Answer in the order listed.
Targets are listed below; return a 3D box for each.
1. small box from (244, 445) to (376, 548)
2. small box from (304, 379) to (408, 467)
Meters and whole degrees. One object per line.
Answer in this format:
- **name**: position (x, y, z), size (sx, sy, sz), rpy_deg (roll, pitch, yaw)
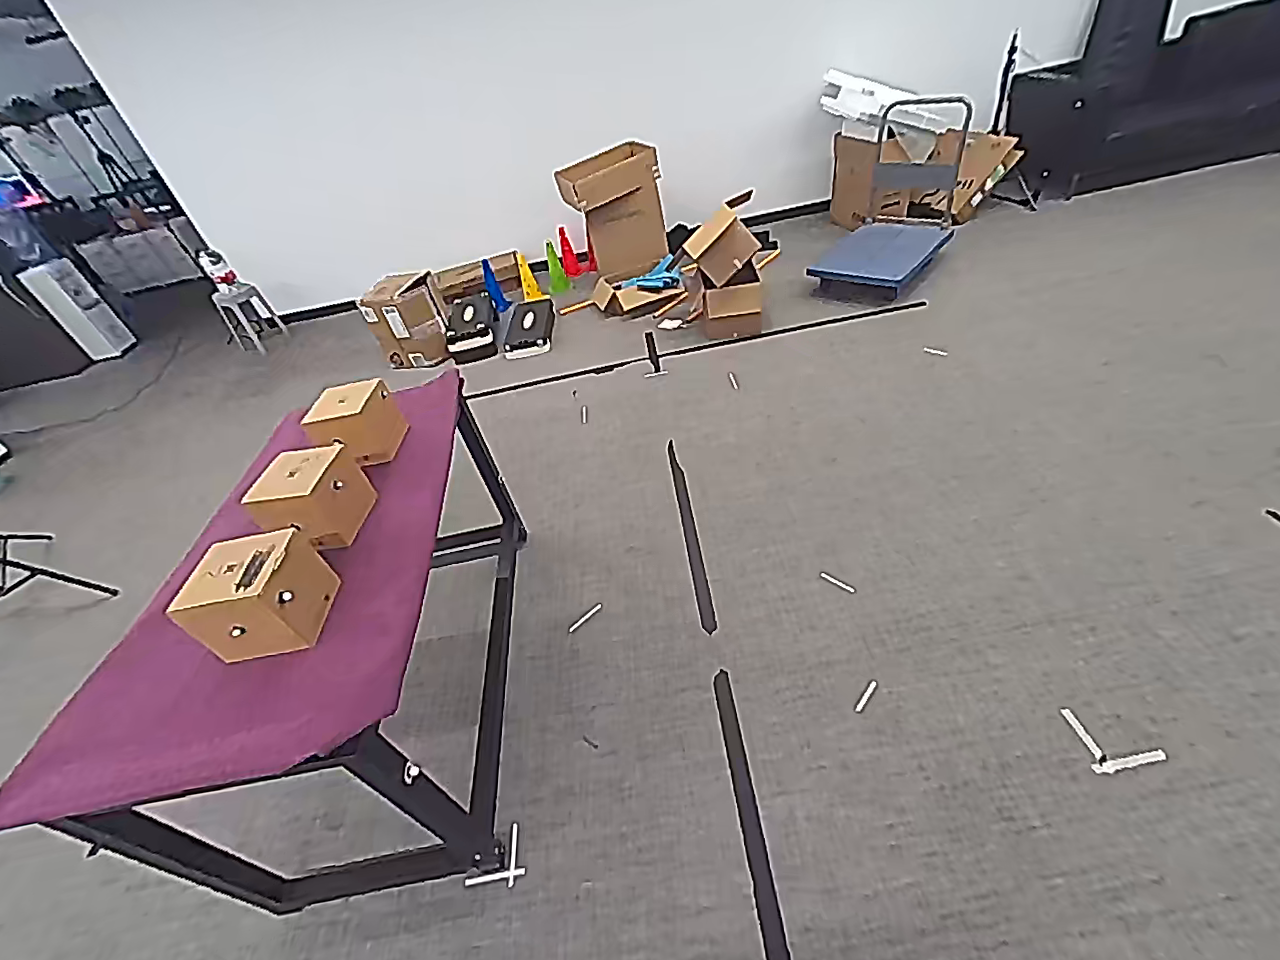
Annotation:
- **small box**: position (-0.750, 0.044, 1.256), size (0.168, 0.176, 0.179), rpy_deg (-6, 40, 7)
- **small box**: position (-0.767, -0.148, 1.484), size (0.168, 0.176, 0.179), rpy_deg (-10, 40, 5)
